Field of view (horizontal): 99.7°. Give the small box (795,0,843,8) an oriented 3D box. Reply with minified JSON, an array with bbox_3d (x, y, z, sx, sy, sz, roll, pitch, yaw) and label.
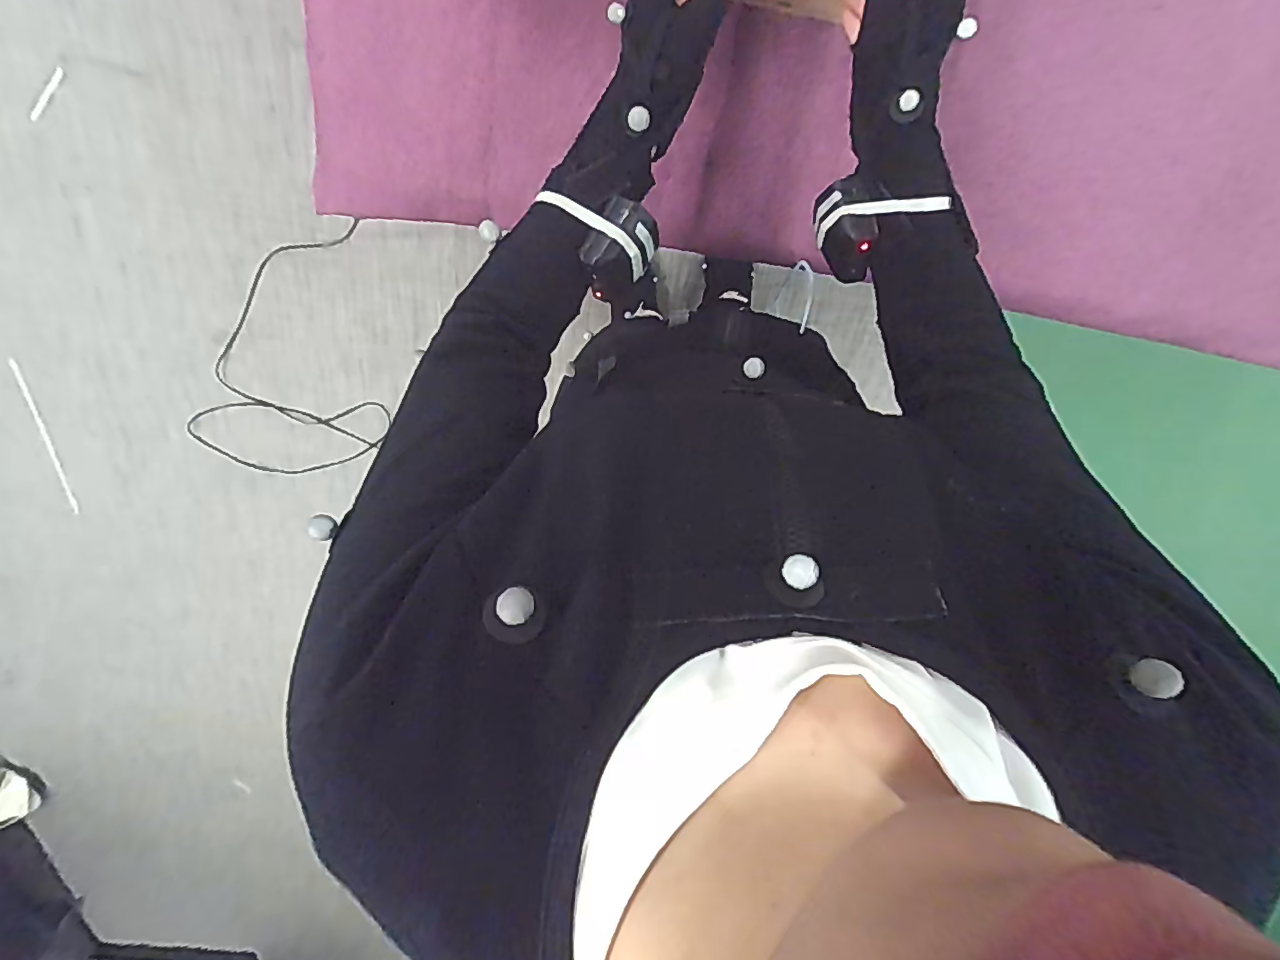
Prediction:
[{"bbox_3d":[0.127,-0.505,0.413,0.168,0.176,0.179,9,117,-3],"label":"small box"}]
